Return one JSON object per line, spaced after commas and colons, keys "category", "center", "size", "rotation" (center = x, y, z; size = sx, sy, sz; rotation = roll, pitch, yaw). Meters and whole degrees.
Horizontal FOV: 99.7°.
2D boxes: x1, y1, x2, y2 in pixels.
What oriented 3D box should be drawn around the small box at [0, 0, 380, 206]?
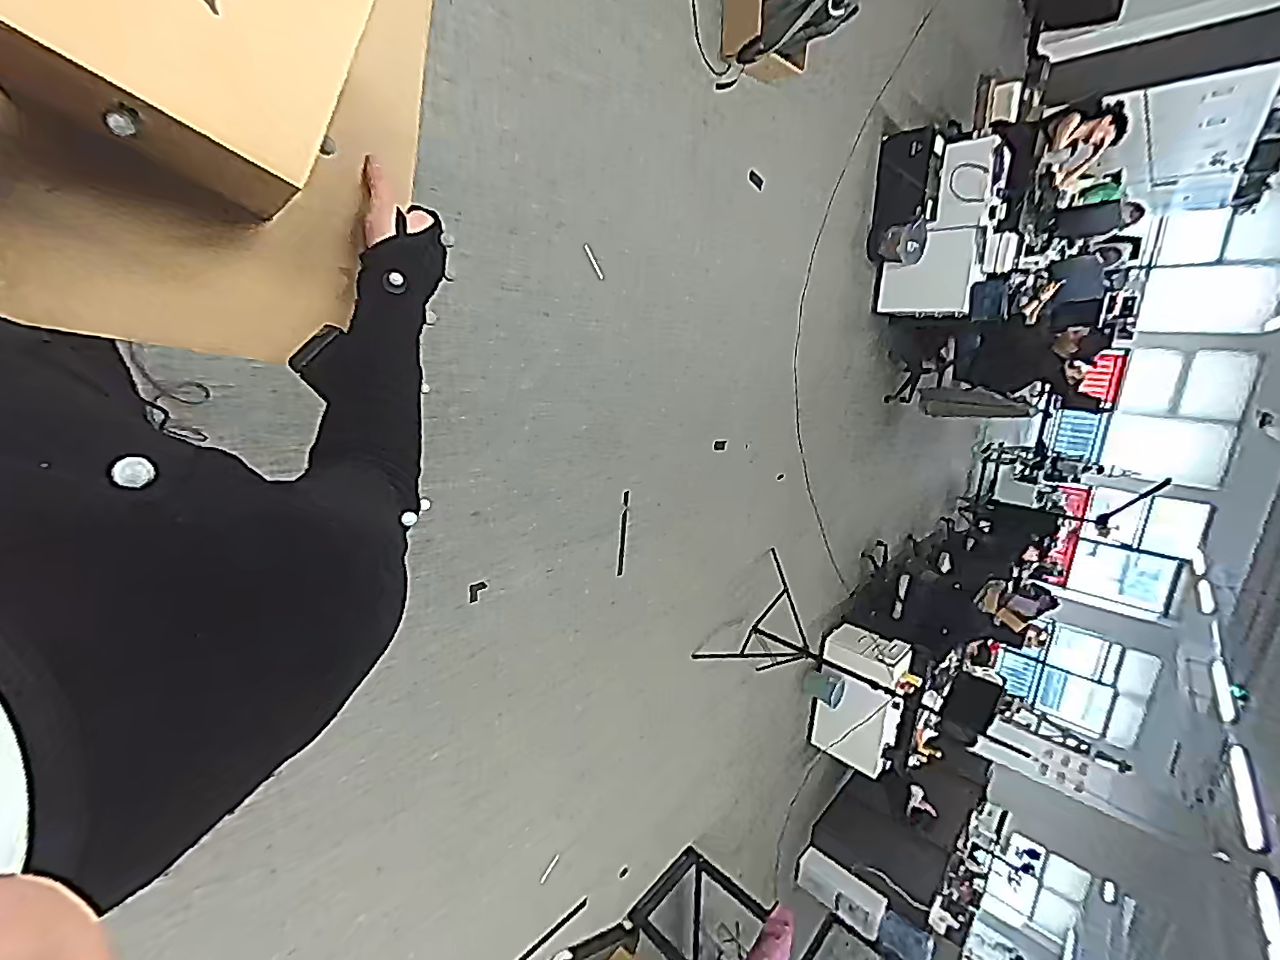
{"category": "small box", "center": [-0.326, -0.327, 0.397], "size": [0.179, 0.176, 0.168], "rotation": [20, 90, -42]}
